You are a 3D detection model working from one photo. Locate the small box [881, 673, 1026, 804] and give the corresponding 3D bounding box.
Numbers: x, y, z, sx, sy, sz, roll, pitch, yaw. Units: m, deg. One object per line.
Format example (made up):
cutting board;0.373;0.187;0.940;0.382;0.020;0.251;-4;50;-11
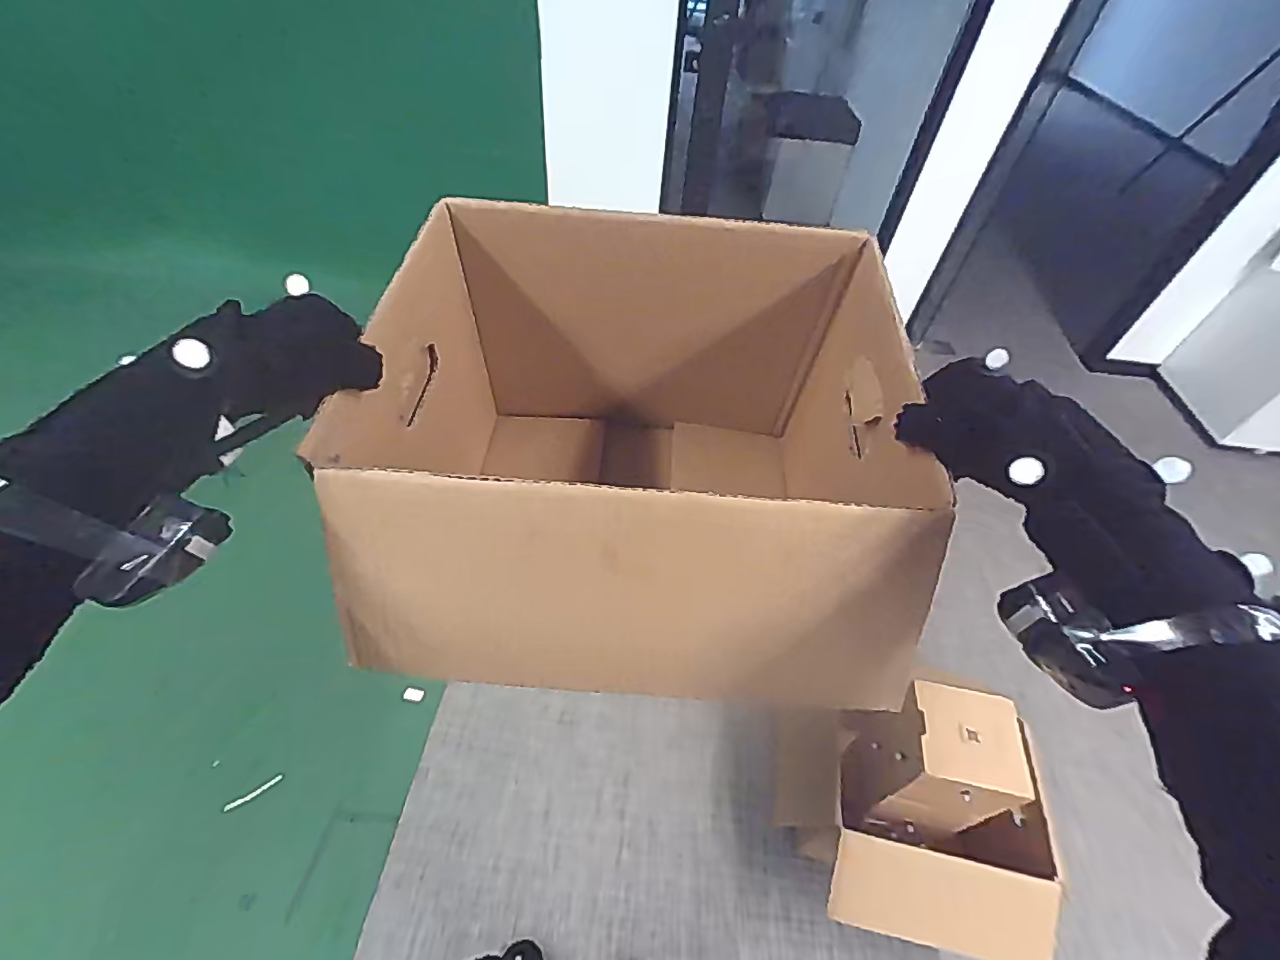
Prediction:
small box;0.567;0.487;1.012;0.179;0.176;0.168;10;50;5
